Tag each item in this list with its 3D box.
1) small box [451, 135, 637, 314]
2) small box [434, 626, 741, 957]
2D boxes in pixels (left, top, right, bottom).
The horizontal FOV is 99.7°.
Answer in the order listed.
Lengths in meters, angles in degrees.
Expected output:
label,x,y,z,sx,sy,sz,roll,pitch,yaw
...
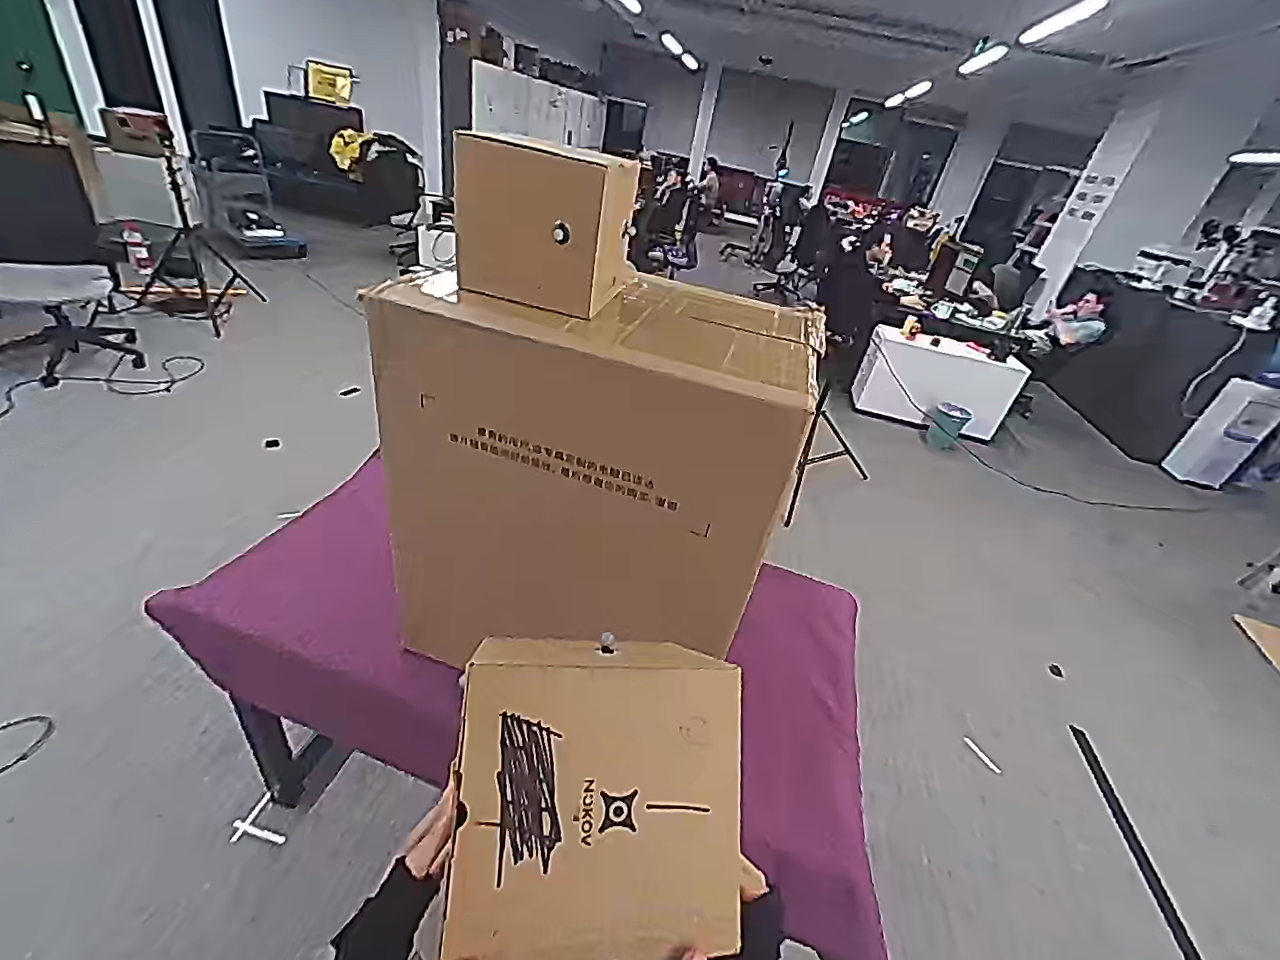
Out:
label,x,y,z,sx,sy,sz,roll,pitch,yaw
small box,-0.116,-0.319,0.680,0.179,0.176,0.168,14,32,5
small box,-0.040,0.200,0.399,0.179,0.176,0.168,5,78,-12
